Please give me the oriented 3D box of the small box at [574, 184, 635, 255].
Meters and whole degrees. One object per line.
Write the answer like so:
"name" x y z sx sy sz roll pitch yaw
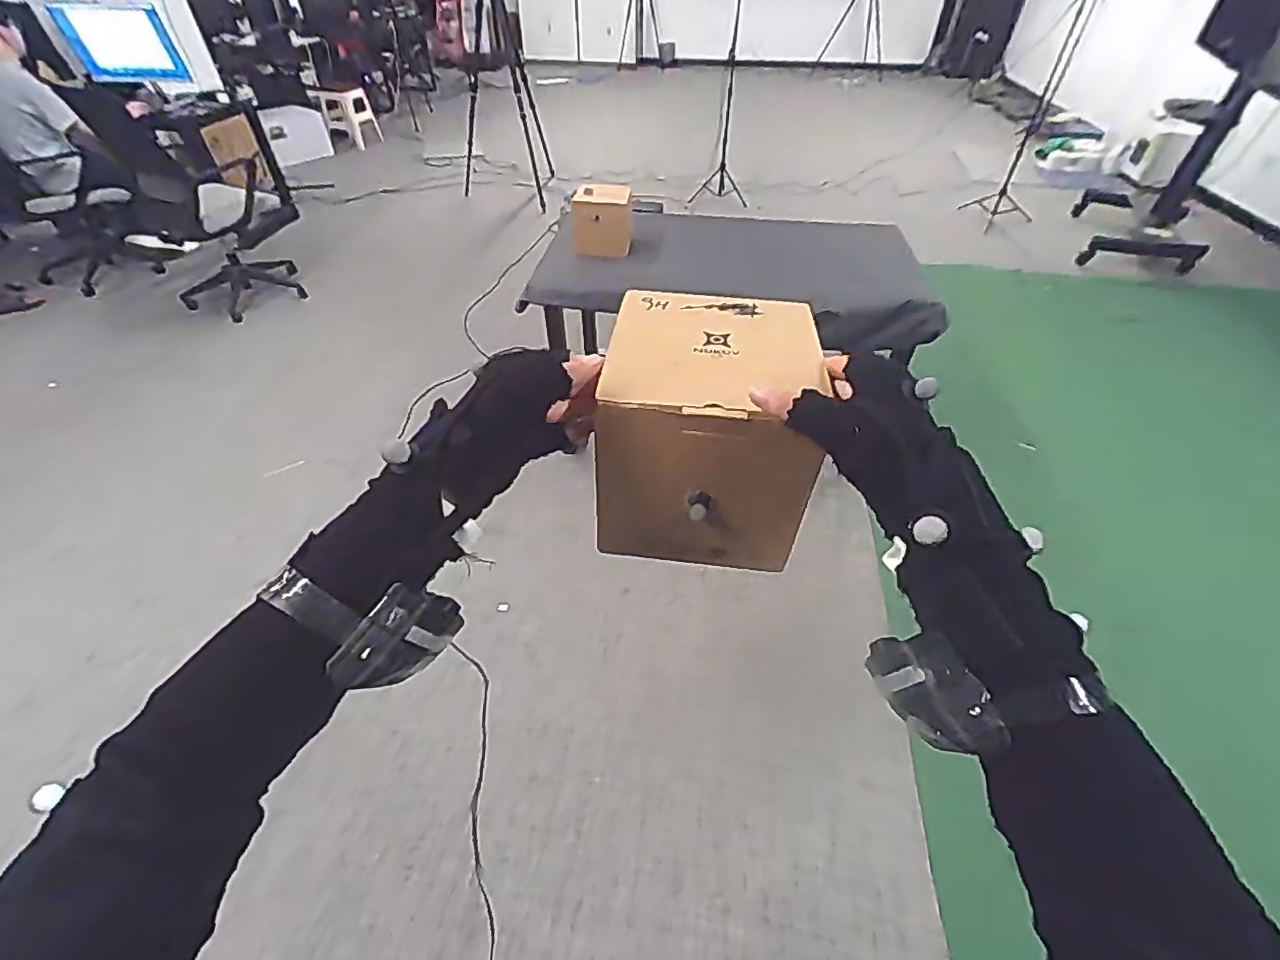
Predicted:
"small box" -0.112 -0.854 1.775 0.179 0.176 0.168 5 46 3

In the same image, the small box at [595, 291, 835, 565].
"small box" 0.058 -0.044 0.478 0.168 0.176 0.179 5 45 3
